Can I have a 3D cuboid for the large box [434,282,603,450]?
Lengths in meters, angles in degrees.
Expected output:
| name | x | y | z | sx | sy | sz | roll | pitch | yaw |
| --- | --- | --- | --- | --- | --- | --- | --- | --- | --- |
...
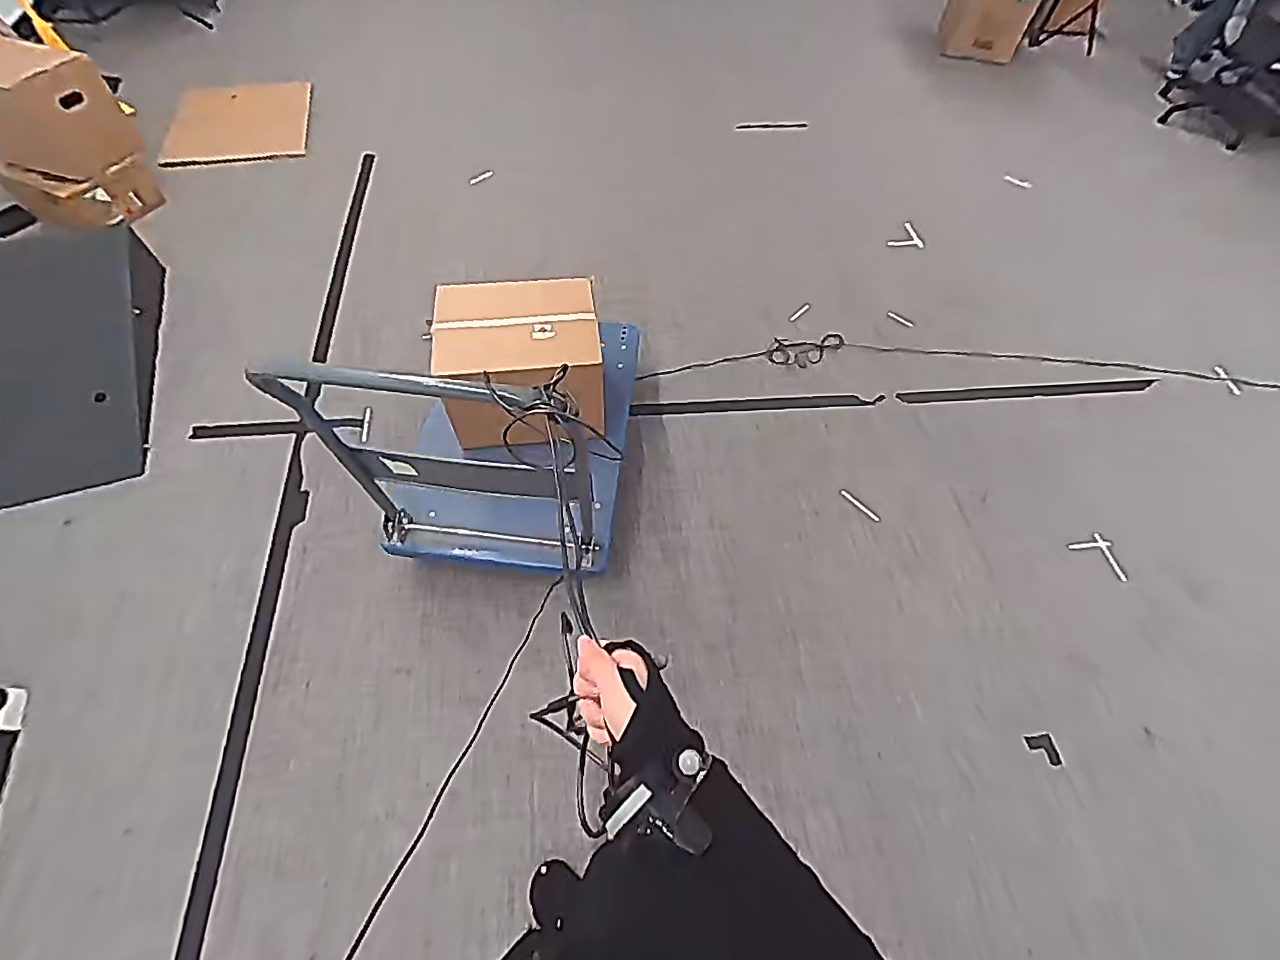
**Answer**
| name | x | y | z | sx | sy | sz | roll | pitch | yaw |
| --- | --- | --- | --- | --- | --- | --- | --- | --- | --- |
| large box | -0.317 | -0.305 | 1.478 | 0.408 | 0.320 | 0.320 | -5 | 60 | -7 |
